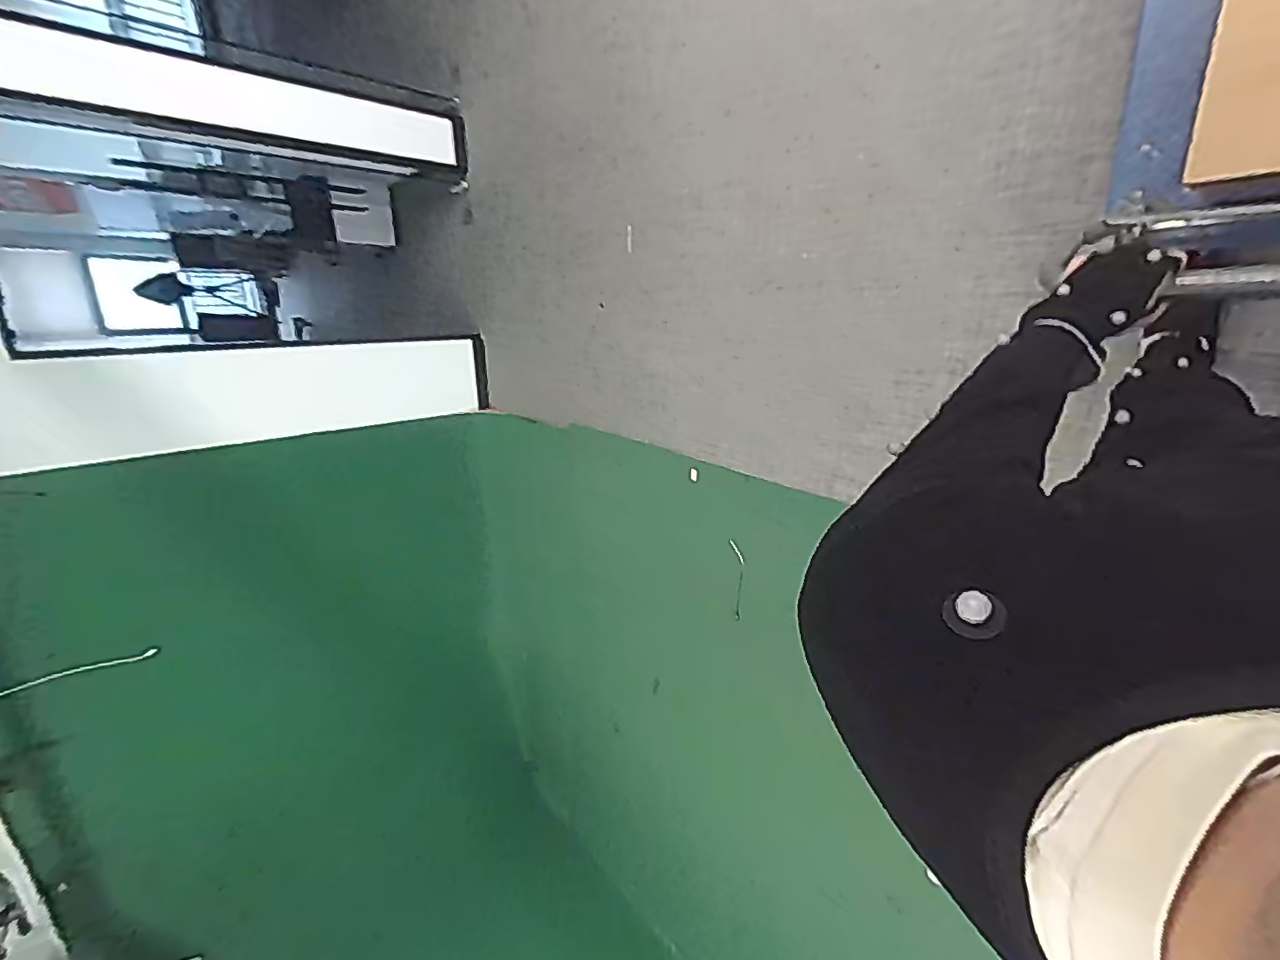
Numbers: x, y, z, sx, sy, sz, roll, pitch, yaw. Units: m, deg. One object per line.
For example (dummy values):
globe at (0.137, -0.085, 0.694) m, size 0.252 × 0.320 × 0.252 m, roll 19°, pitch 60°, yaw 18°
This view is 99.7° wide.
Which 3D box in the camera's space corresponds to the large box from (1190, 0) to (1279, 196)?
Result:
large box at (0.993, -0.625, 0.704) m, size 0.320 × 0.320 × 0.408 m, roll 16°, pitch 118°, yaw 46°
